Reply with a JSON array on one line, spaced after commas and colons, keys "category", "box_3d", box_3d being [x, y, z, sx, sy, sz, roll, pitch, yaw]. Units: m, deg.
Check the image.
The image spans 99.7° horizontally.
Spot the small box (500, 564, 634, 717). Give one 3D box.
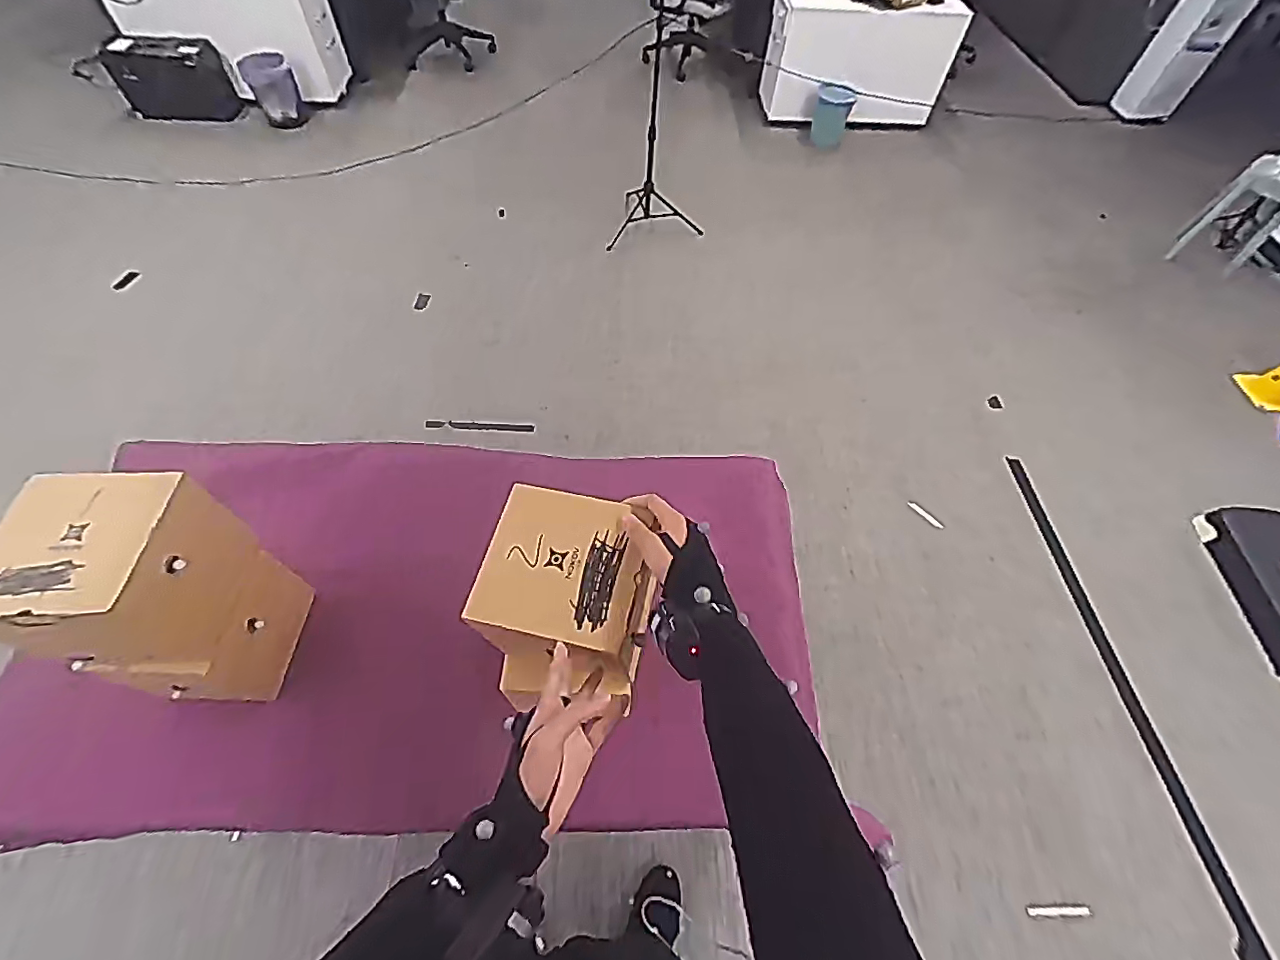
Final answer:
[{"category": "small box", "box_3d": [-0.094, 0.239, 0.791, 0.168, 0.176, 0.179, 3, 56, -1]}]

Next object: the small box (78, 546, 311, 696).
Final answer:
[{"category": "small box", "box_3d": [-0.614, 0.205, 0.779, 0.168, 0.176, 0.179, 4, 57, -2]}]

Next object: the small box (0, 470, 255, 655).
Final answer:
[{"category": "small box", "box_3d": [-0.610, 0.105, 0.648, 0.168, 0.176, 0.179, 0, 56, -4]}]
